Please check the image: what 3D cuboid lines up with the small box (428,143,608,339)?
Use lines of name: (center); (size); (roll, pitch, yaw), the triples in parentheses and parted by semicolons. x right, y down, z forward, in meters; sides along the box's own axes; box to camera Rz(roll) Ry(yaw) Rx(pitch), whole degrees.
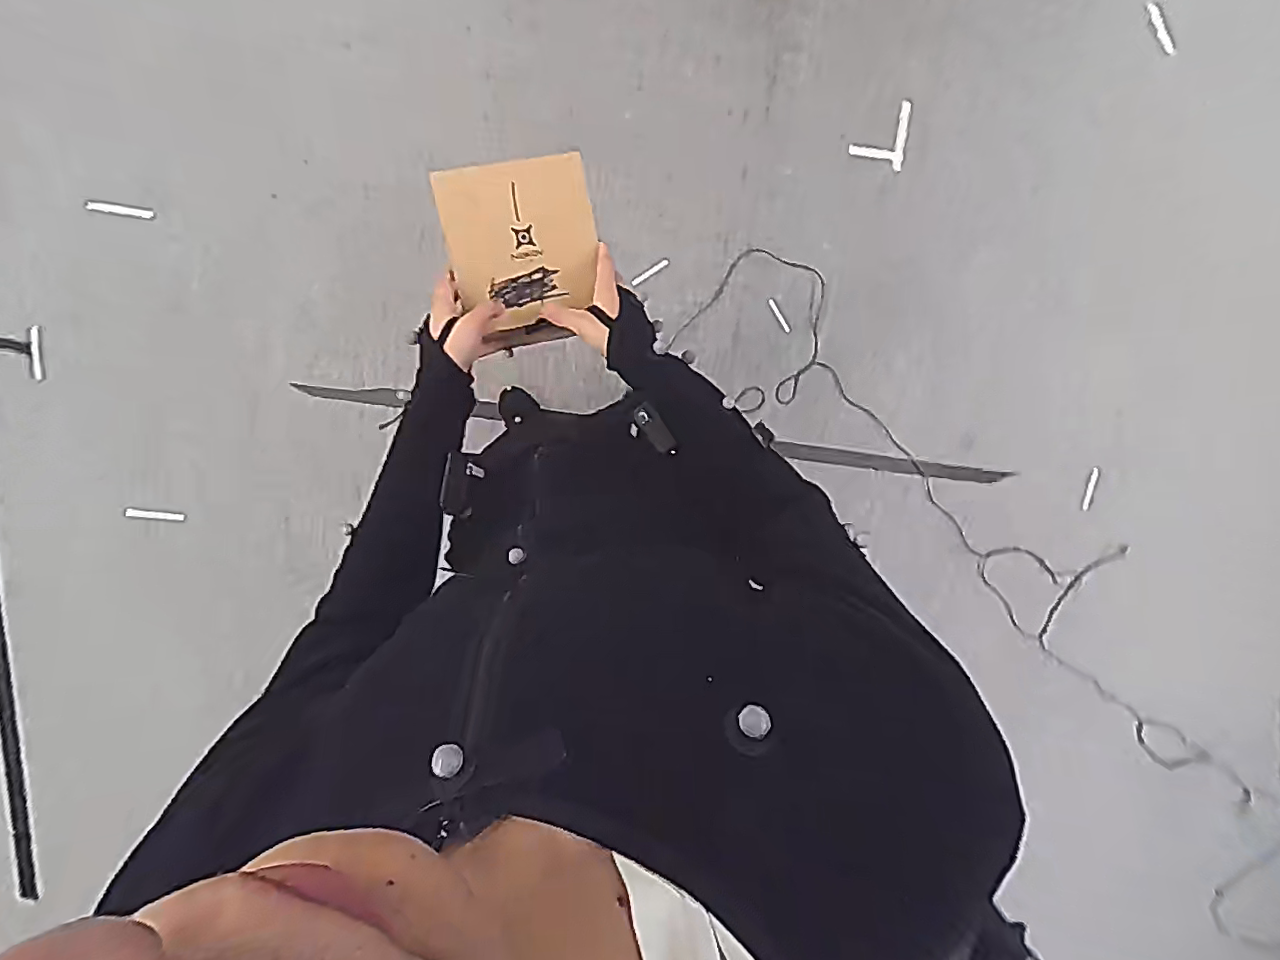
small box: (-0.141, -0.276, 0.666); (0.168, 0.176, 0.179); (-12, 99, -8)
